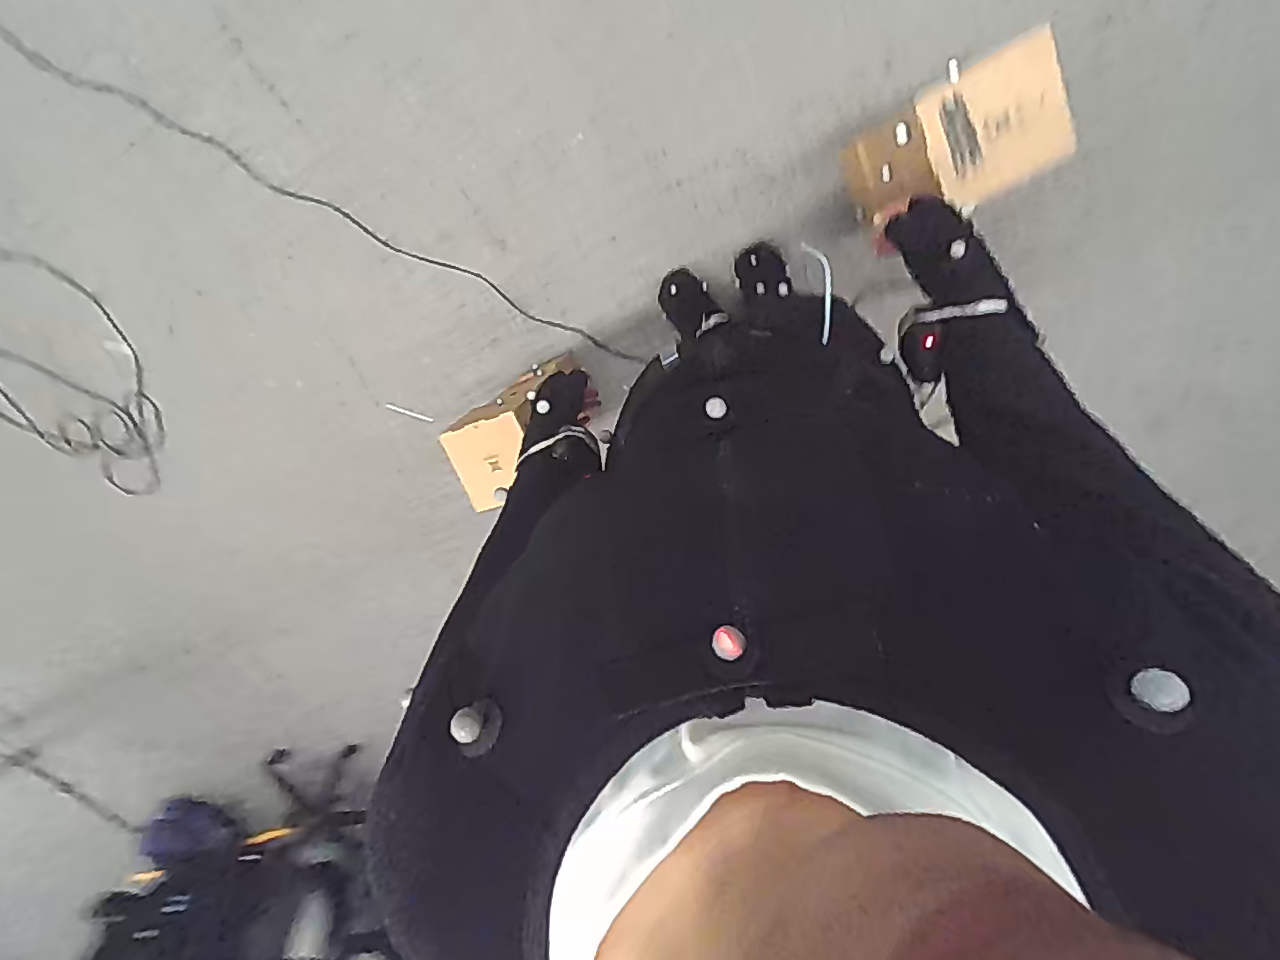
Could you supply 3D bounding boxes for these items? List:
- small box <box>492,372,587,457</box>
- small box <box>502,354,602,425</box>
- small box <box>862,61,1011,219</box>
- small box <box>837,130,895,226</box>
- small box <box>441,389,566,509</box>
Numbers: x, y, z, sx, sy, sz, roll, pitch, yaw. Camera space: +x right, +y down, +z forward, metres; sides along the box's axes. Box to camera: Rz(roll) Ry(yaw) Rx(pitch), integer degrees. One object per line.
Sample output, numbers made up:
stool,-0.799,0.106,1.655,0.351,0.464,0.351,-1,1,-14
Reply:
small box,-0.244,-0.138,1.267,0.168,0.176,0.179,-21,112,16
small box,-0.223,-0.214,1.415,0.168,0.176,0.179,-23,109,20
small box,0.517,-0.588,0.965,0.168,0.176,0.179,-22,111,16
small box,0.526,-0.650,1.116,0.168,0.176,0.179,-22,110,16
small box,-0.271,-0.068,1.123,0.168,0.176,0.179,-16,111,14
